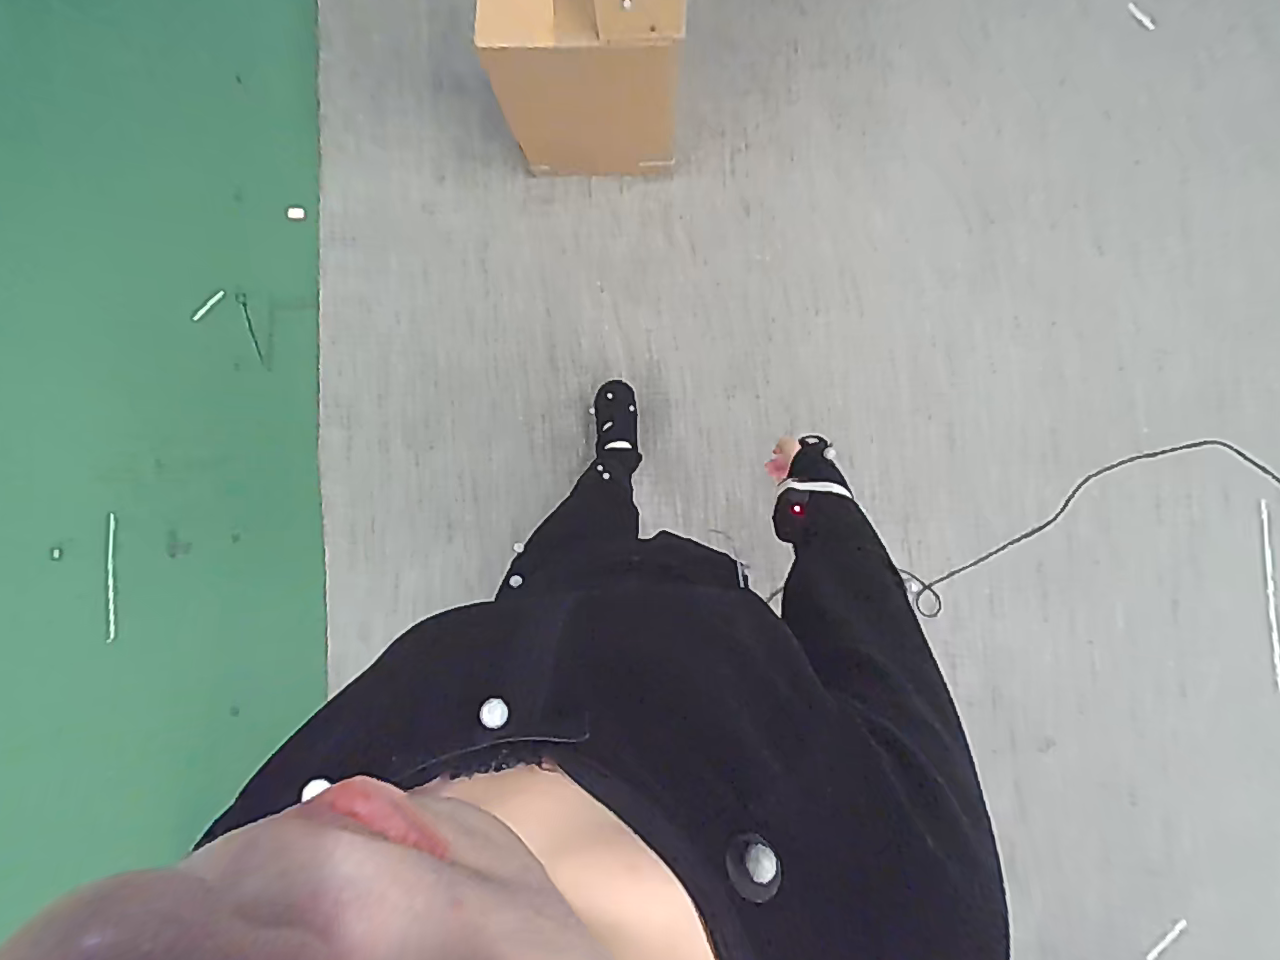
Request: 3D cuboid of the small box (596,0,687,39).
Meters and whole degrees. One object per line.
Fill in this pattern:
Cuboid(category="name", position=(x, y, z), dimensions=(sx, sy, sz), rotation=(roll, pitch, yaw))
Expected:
Cuboid(category="small box", position=(0.003, -0.944, 0.980), dimensions=(0.168, 0.176, 0.179), rotation=(1, 88, 3))
